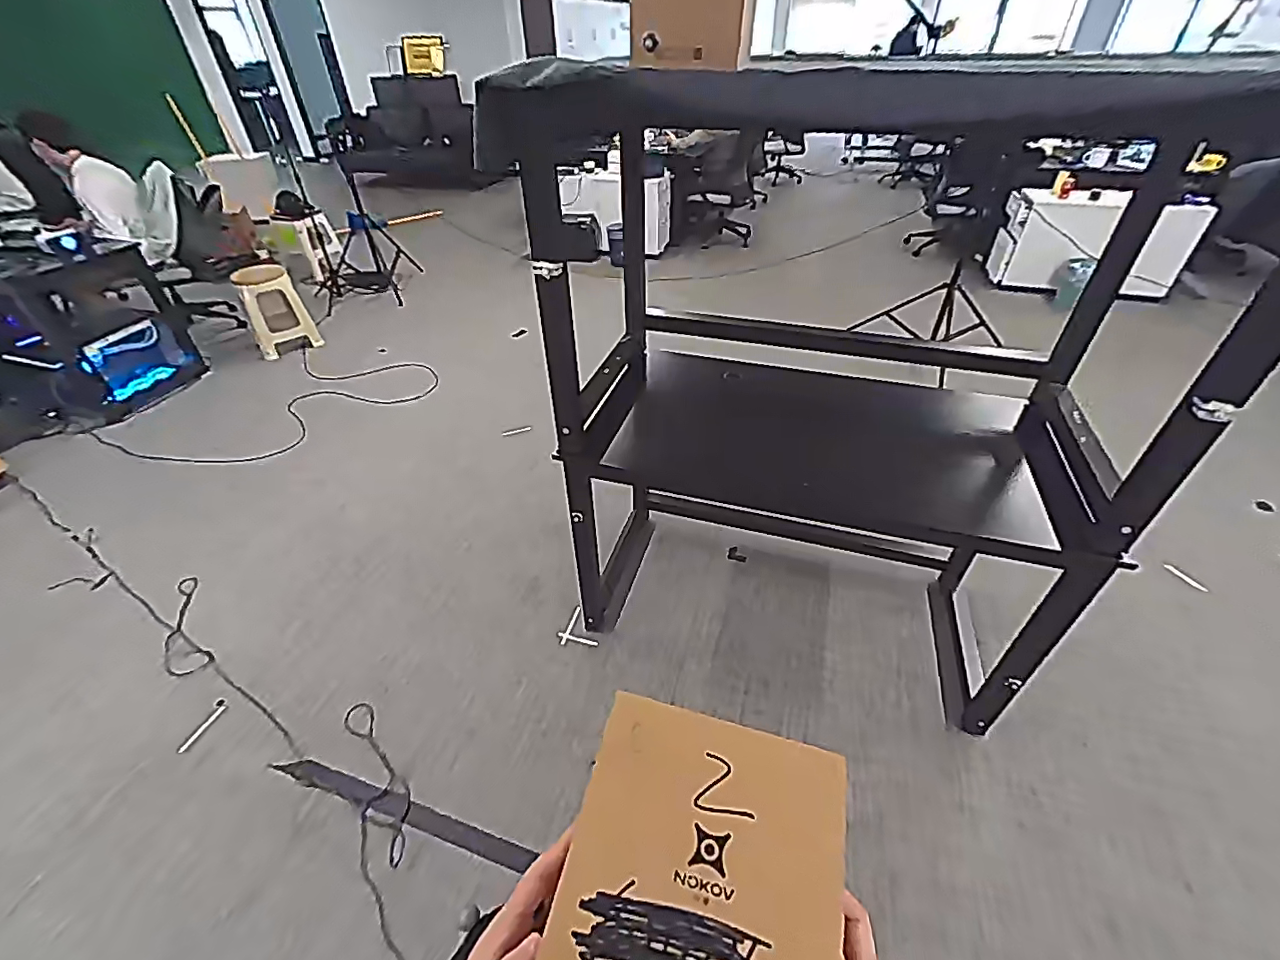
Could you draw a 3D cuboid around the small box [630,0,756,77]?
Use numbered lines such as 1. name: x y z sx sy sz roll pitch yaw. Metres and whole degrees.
1. small box: 0.084 -0.716 0.815 0.168 0.176 0.179 10 39 11
